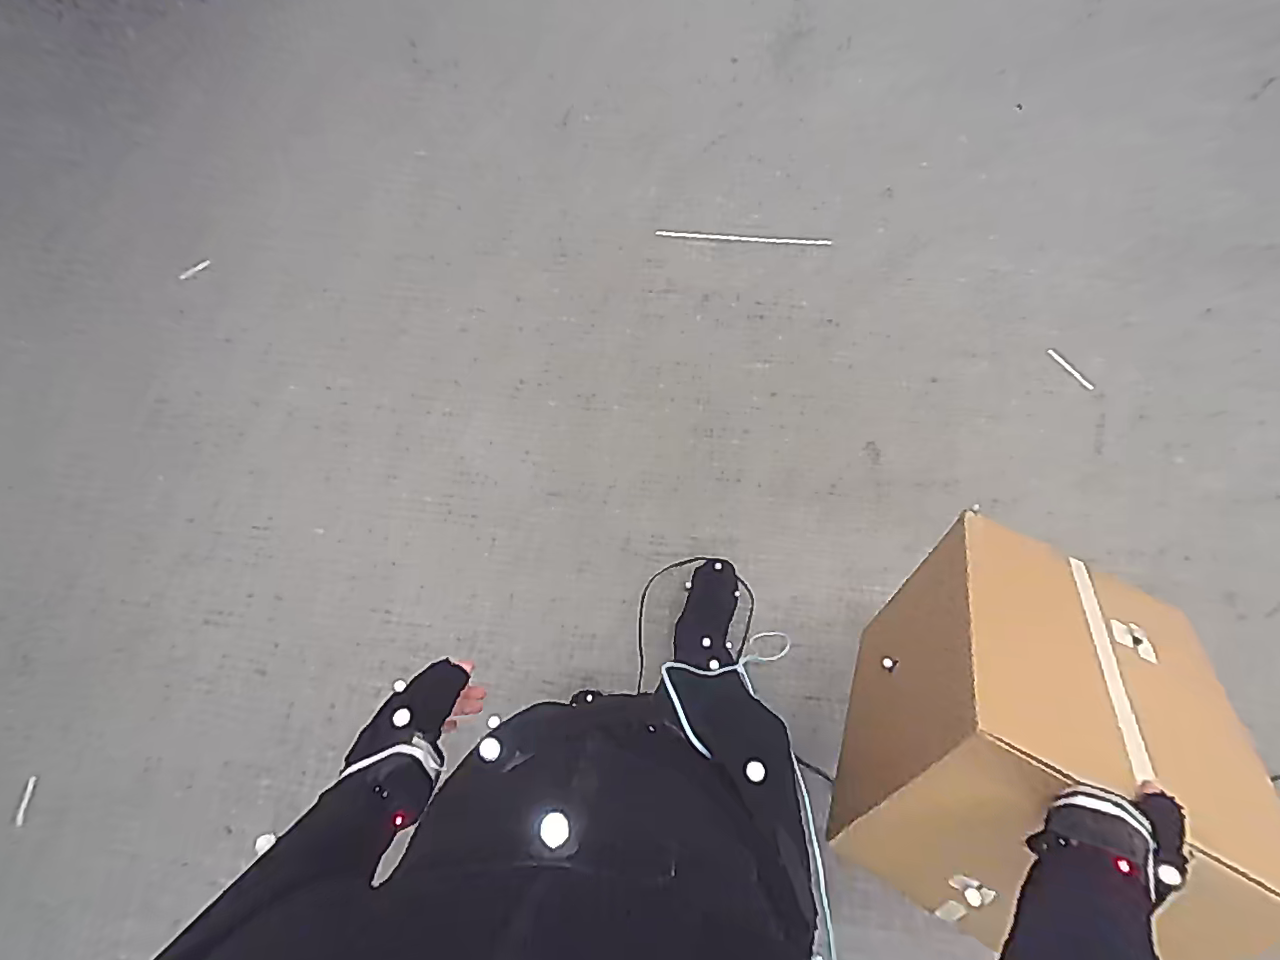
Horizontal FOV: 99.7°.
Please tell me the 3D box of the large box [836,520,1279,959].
[{"bbox_3d":[0.494,0.334,0.721,0.320,0.320,0.408,28,38,11],"label":"large box"}]
